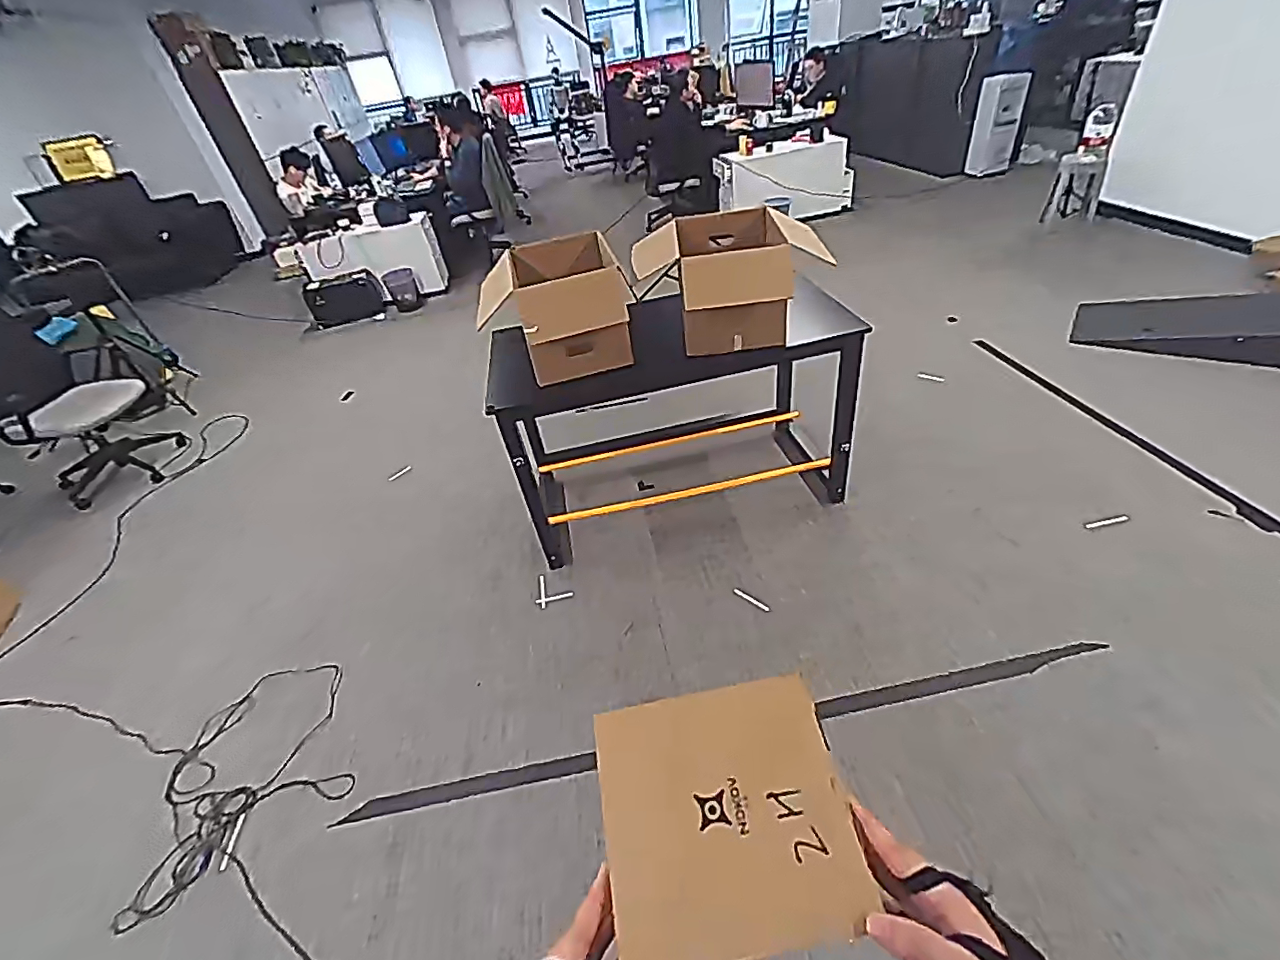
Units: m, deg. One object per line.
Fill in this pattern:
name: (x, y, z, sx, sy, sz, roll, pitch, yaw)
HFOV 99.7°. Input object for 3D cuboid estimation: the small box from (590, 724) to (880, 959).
small box: (0.065, 0.317, 0.436, 0.179, 0.176, 0.168, -10, 53, -1)
